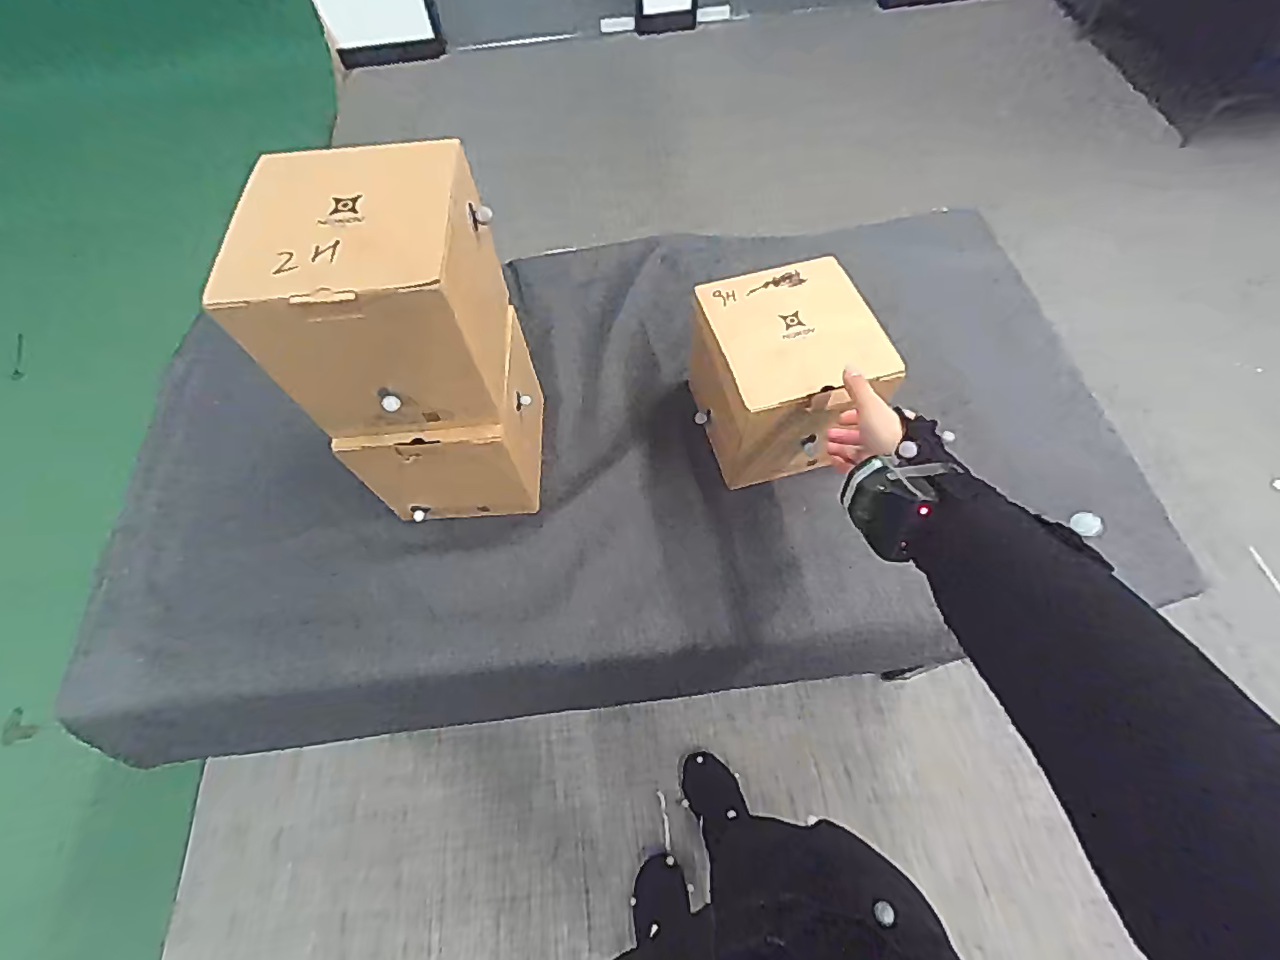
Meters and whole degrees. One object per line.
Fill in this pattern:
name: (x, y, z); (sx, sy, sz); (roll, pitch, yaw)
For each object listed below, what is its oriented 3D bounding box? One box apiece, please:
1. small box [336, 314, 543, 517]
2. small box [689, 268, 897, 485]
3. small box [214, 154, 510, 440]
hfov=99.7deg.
small box: (-0.210, -0.064, 0.624); (0.168, 0.176, 0.179); (-3, 60, 0)
small box: (0.160, -0.109, 0.633); (0.168, 0.176, 0.179); (-14, 62, -5)
small box: (-0.220, -0.157, 0.487); (0.168, 0.176, 0.179); (-5, 61, 0)
